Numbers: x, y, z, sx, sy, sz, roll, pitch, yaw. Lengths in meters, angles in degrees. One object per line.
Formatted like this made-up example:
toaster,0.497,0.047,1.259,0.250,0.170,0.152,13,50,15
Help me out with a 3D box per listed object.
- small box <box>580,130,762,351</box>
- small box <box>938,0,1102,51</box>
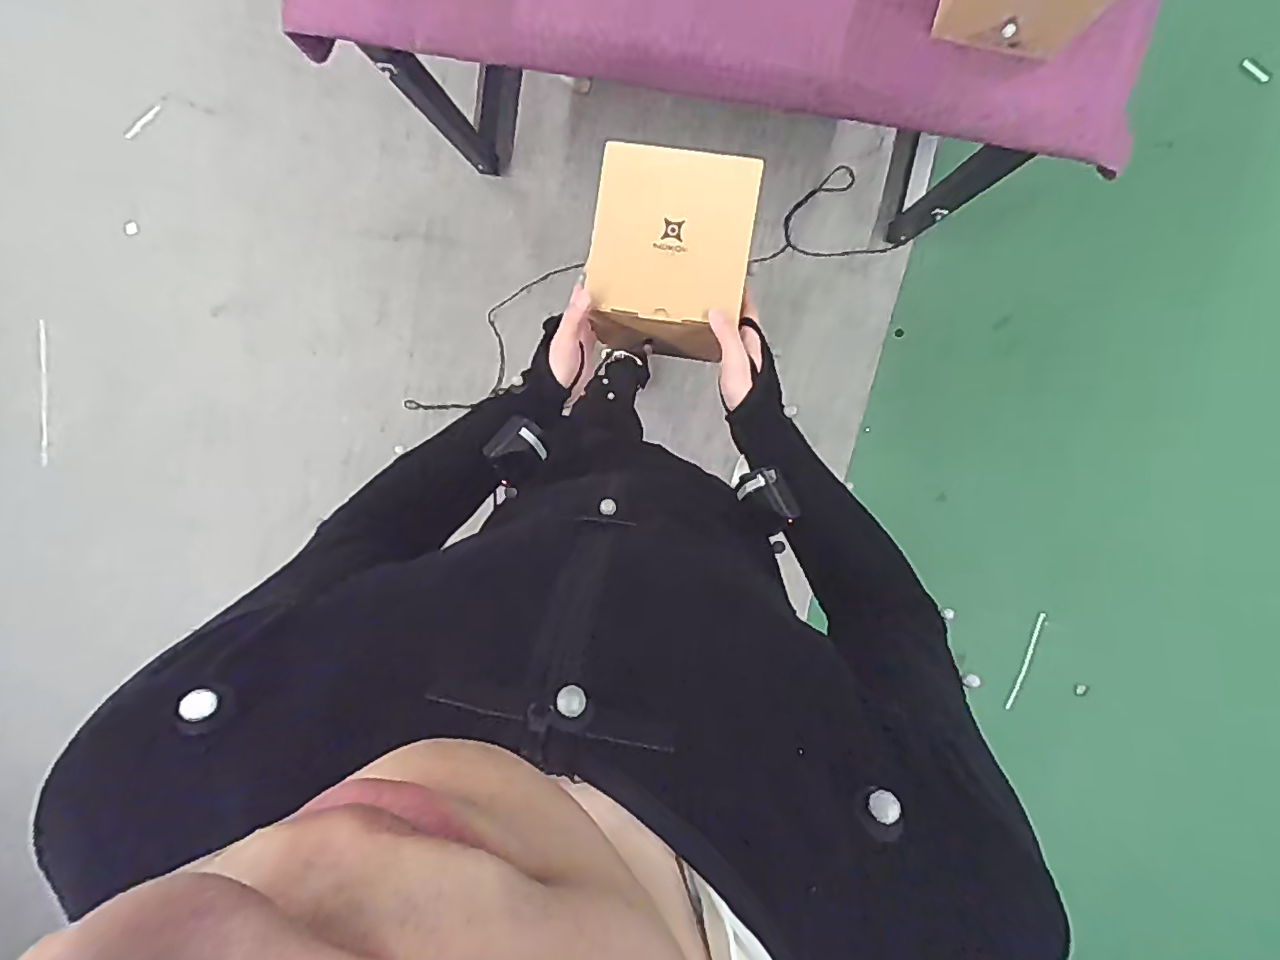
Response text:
small box,0.034,-0.264,0.633,0.168,0.176,0.179,9,93,3
small box,0.482,-0.660,0.630,0.168,0.176,0.179,14,100,4
